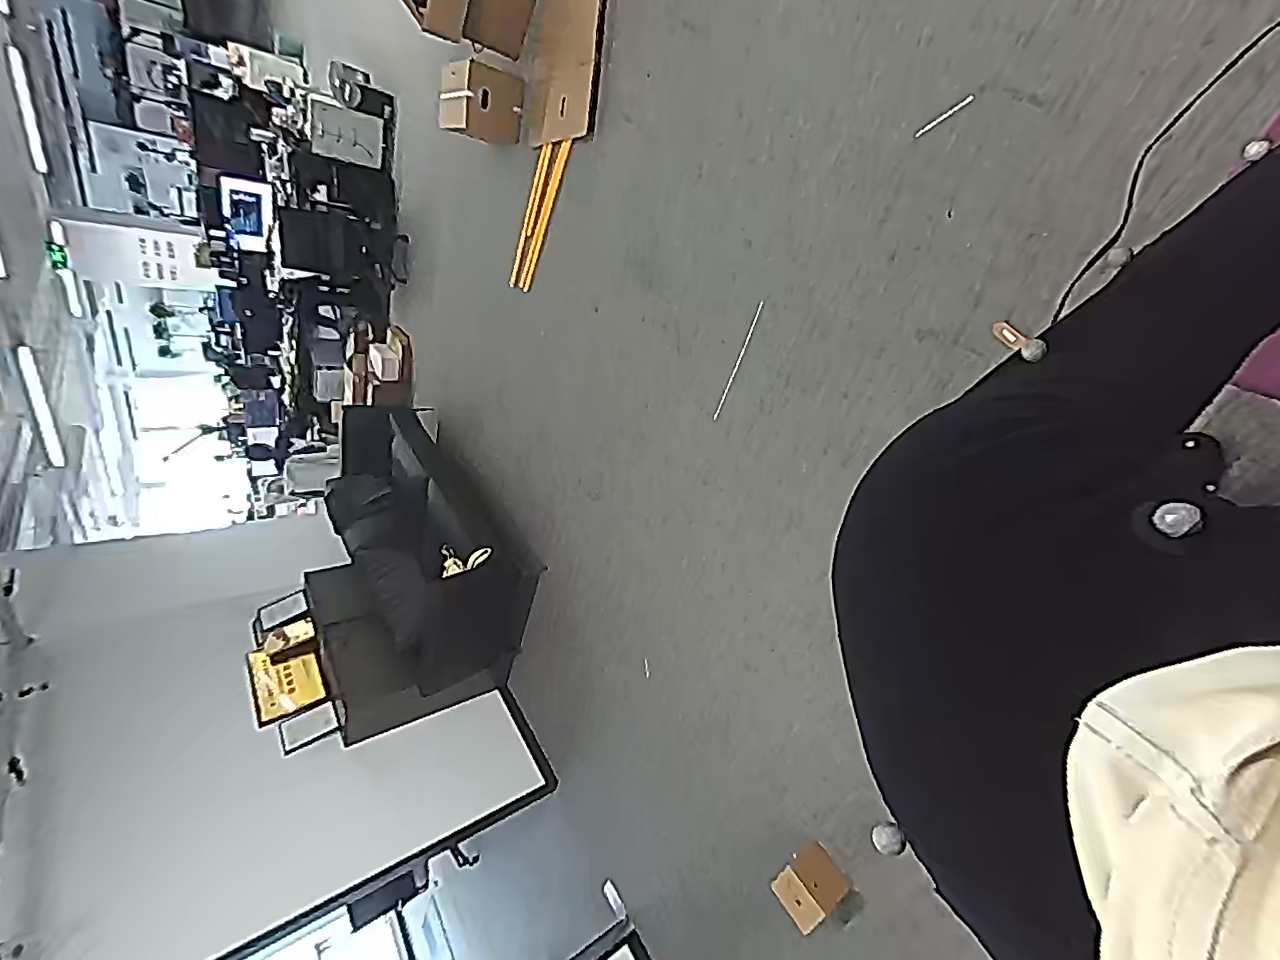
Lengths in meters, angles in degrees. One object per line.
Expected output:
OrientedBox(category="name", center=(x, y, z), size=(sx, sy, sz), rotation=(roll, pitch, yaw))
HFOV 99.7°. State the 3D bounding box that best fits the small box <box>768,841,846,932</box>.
OrientedBox(category="small box", center=(0.600, 1.446, 1.932), size=(0.179, 0.176, 0.168), rotation=(45, 128, 37))
